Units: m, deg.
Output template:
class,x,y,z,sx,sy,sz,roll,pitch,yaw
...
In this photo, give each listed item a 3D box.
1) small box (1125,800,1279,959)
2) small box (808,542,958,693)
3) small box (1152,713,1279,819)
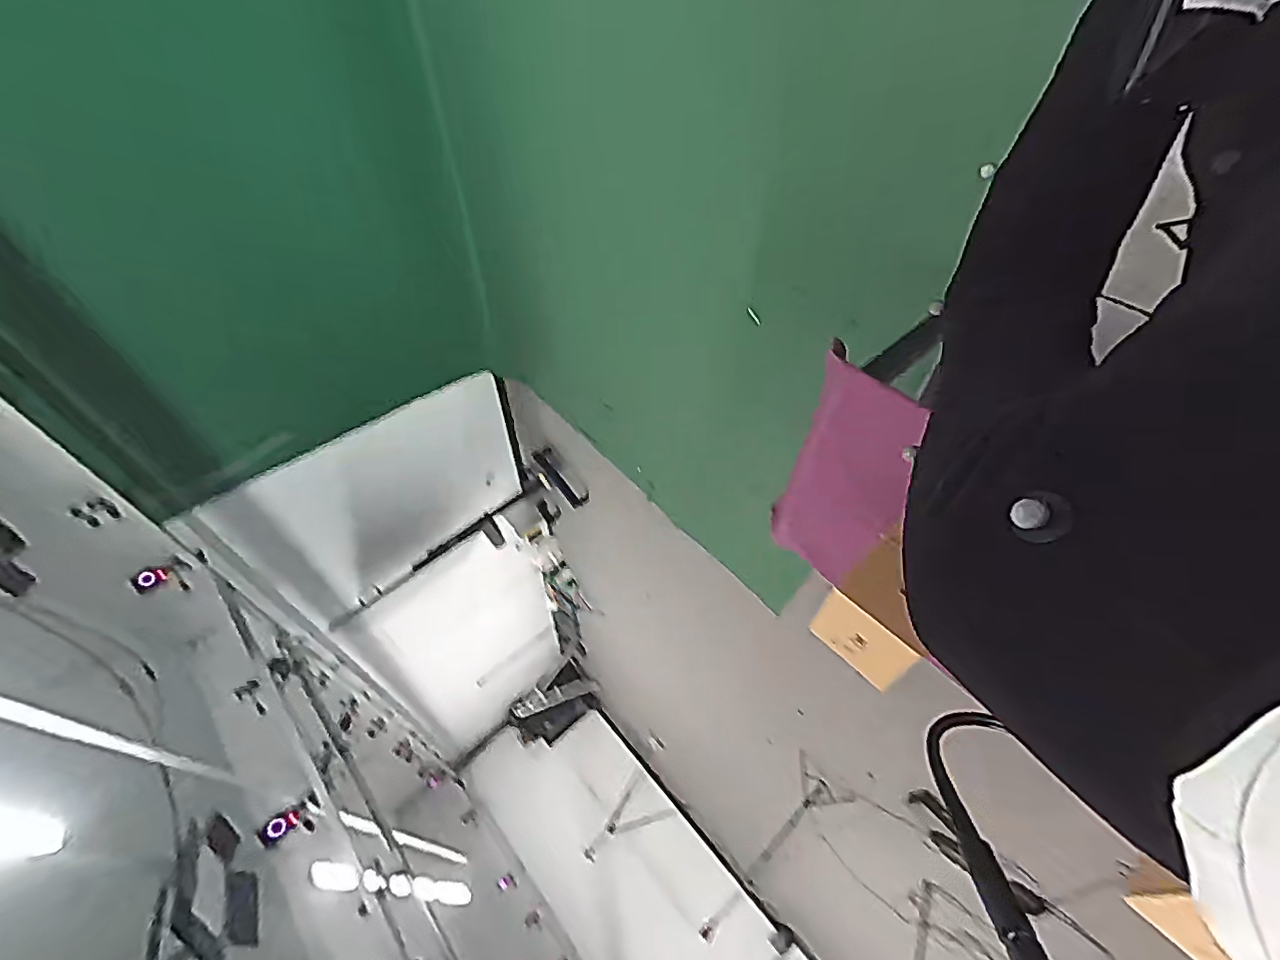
class,x,y,z,sx,sy,sz,roll,pitch,yaw
small box,0.827,0.569,0.731,0.168,0.176,0.179,40,151,27
small box,0.444,0.247,0.989,0.168,0.176,0.179,41,150,27
small box,0.946,0.489,0.811,0.168,0.176,0.179,40,150,27
